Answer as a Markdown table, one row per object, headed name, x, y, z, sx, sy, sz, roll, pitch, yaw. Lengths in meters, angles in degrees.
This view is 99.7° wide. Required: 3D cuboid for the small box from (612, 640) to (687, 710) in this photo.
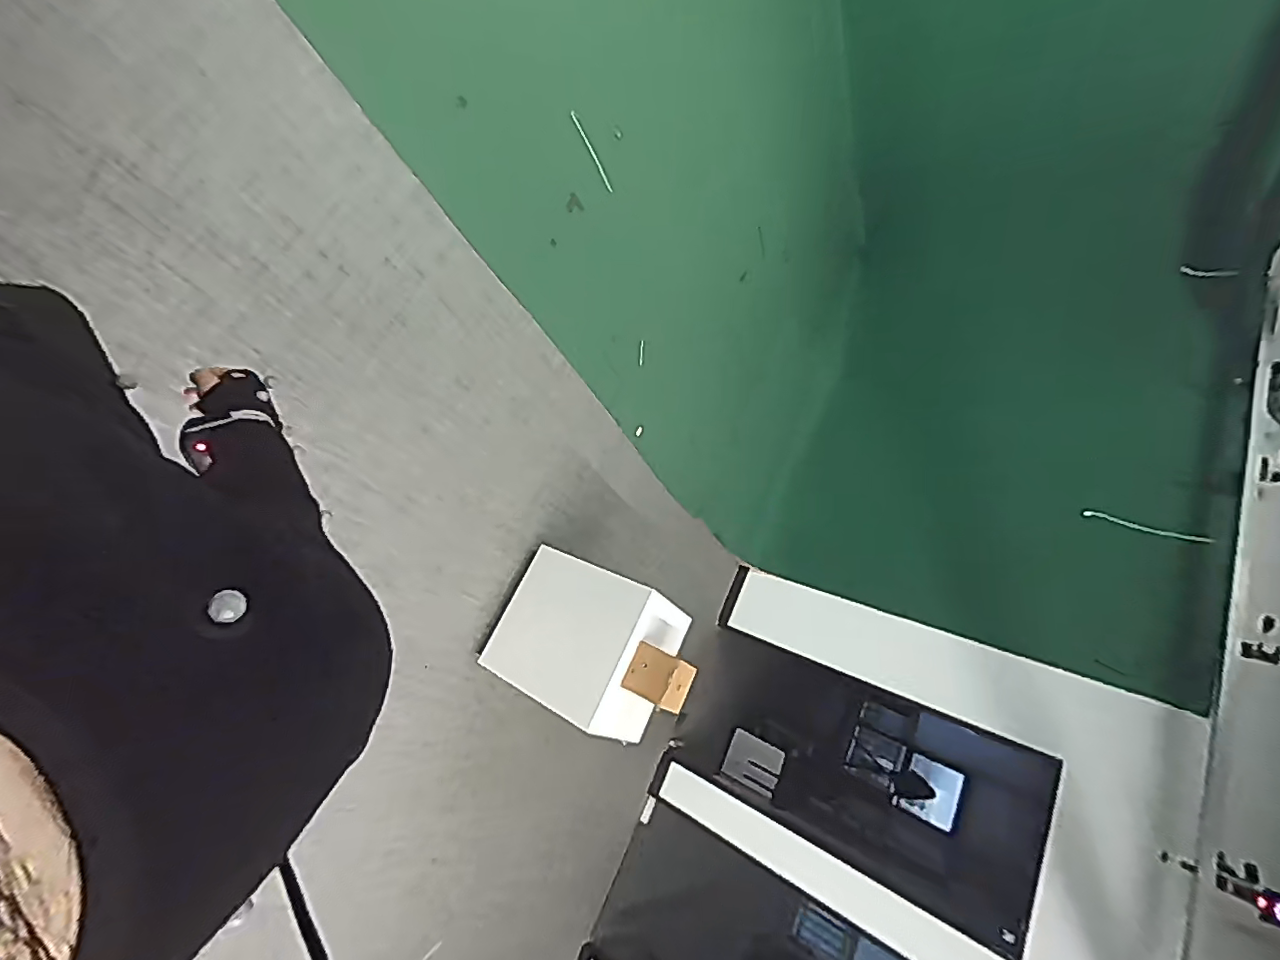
| name | x | y | z | sx | sy | sz | roll | pitch | yaw |
| --- | --- | --- | --- | --- | --- | --- | --- | --- | --- |
| small box | 0.034 | 0.674 | 1.877 | 0.168 | 0.176 | 0.179 | -64 | 146 | -17 |
